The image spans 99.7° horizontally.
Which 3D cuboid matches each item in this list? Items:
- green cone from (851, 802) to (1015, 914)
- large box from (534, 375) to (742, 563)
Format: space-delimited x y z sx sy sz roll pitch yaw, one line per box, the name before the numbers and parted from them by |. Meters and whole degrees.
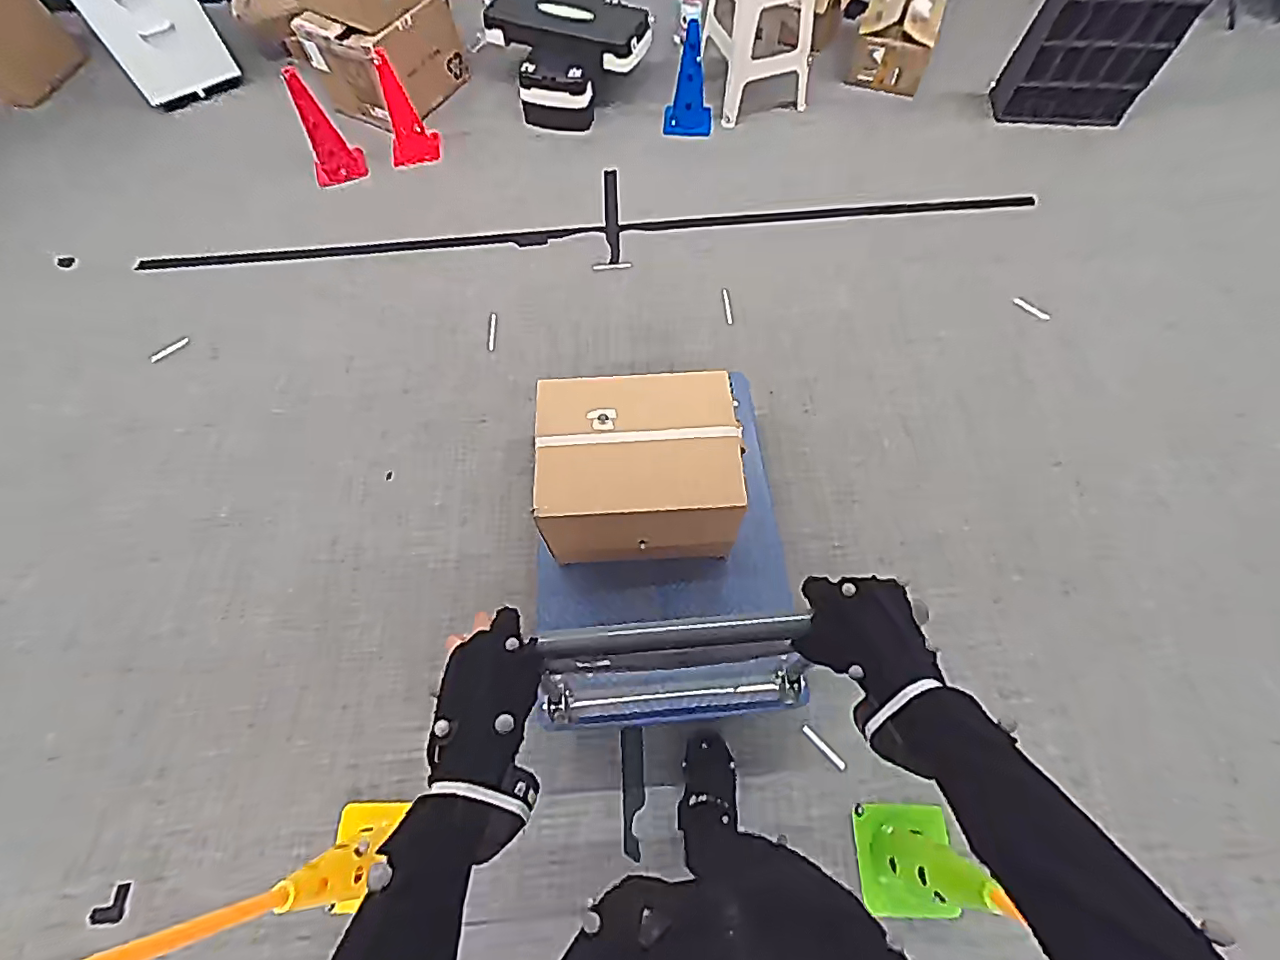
green cone | 0.564 0.733 1.007 0.202 0.368 0.200 0 64 0
large box | -0.006 -0.009 1.223 0.408 0.320 0.320 -4 64 0
